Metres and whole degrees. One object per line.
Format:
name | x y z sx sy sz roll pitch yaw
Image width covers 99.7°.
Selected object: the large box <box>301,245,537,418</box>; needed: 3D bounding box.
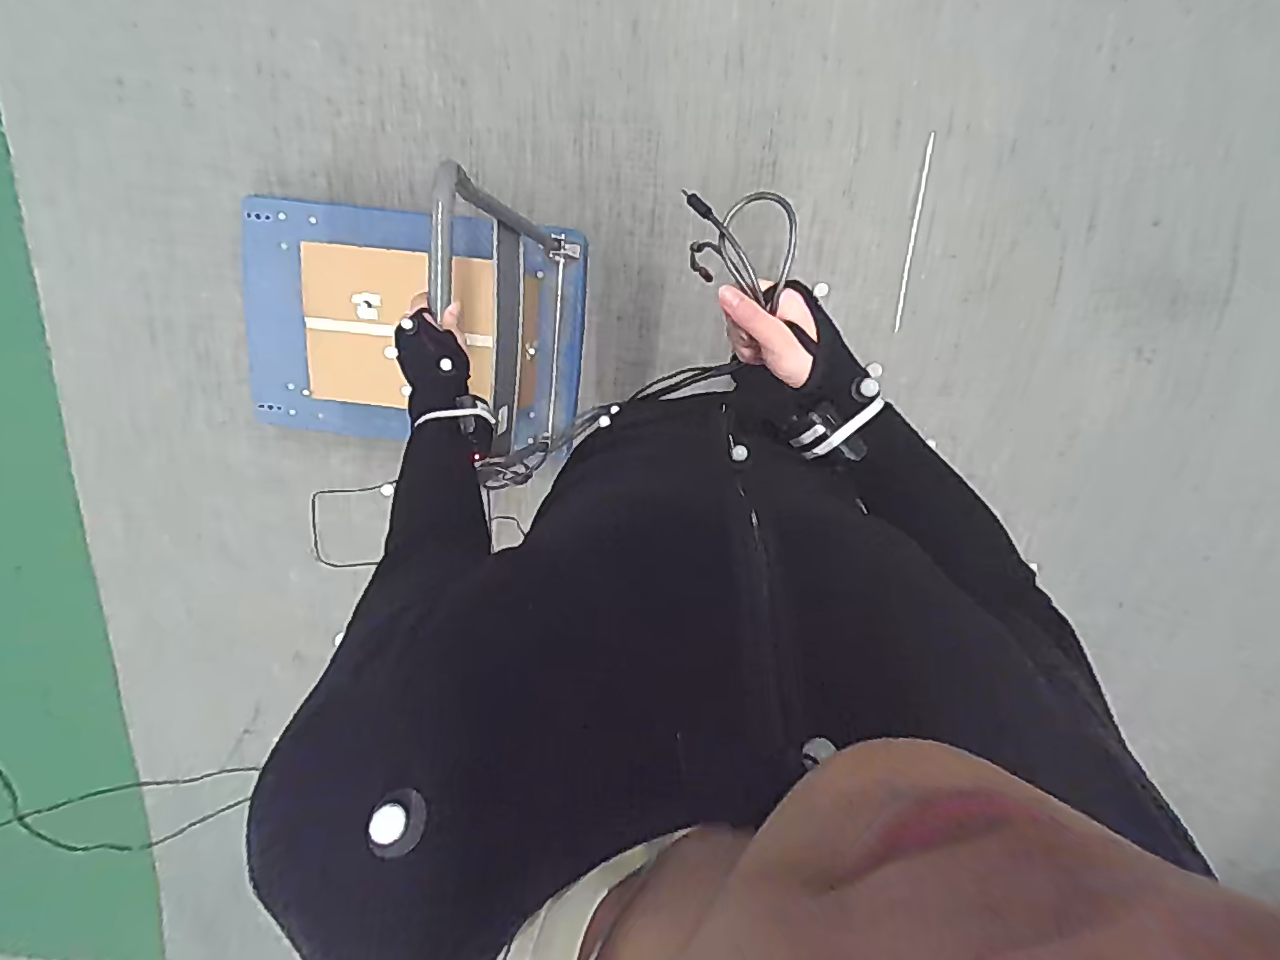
large box | -0.470 -0.336 1.233 0.408 0.320 0.320 7 105 3
